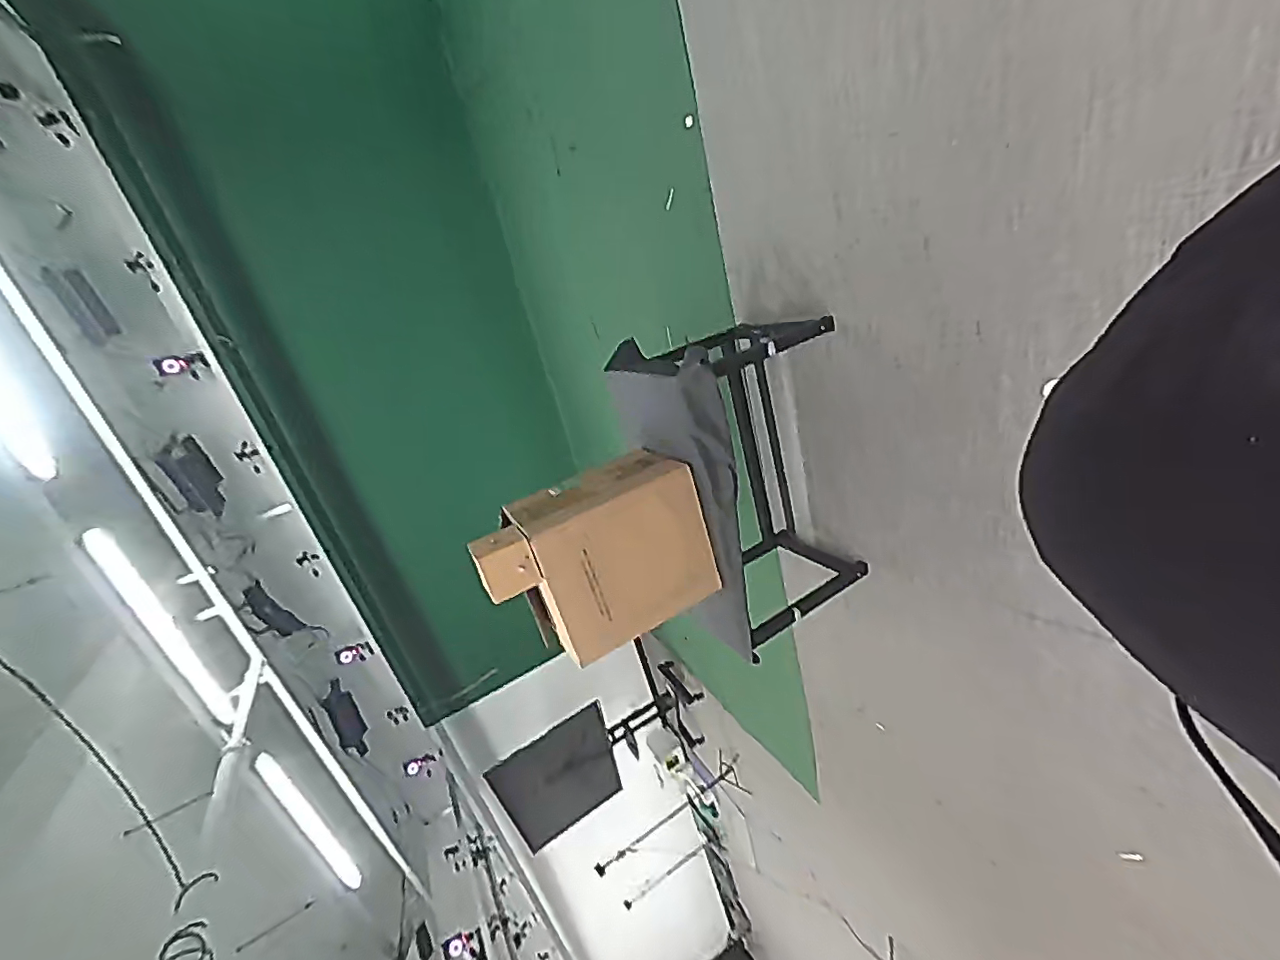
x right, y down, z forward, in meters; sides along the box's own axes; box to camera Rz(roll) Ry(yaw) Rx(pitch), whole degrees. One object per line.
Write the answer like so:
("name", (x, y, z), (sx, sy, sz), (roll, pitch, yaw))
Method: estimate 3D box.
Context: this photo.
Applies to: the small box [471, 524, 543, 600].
("small box", (-0.439, 0.263, 1.788), (0.179, 0.176, 0.168), (21, 132, 60))
